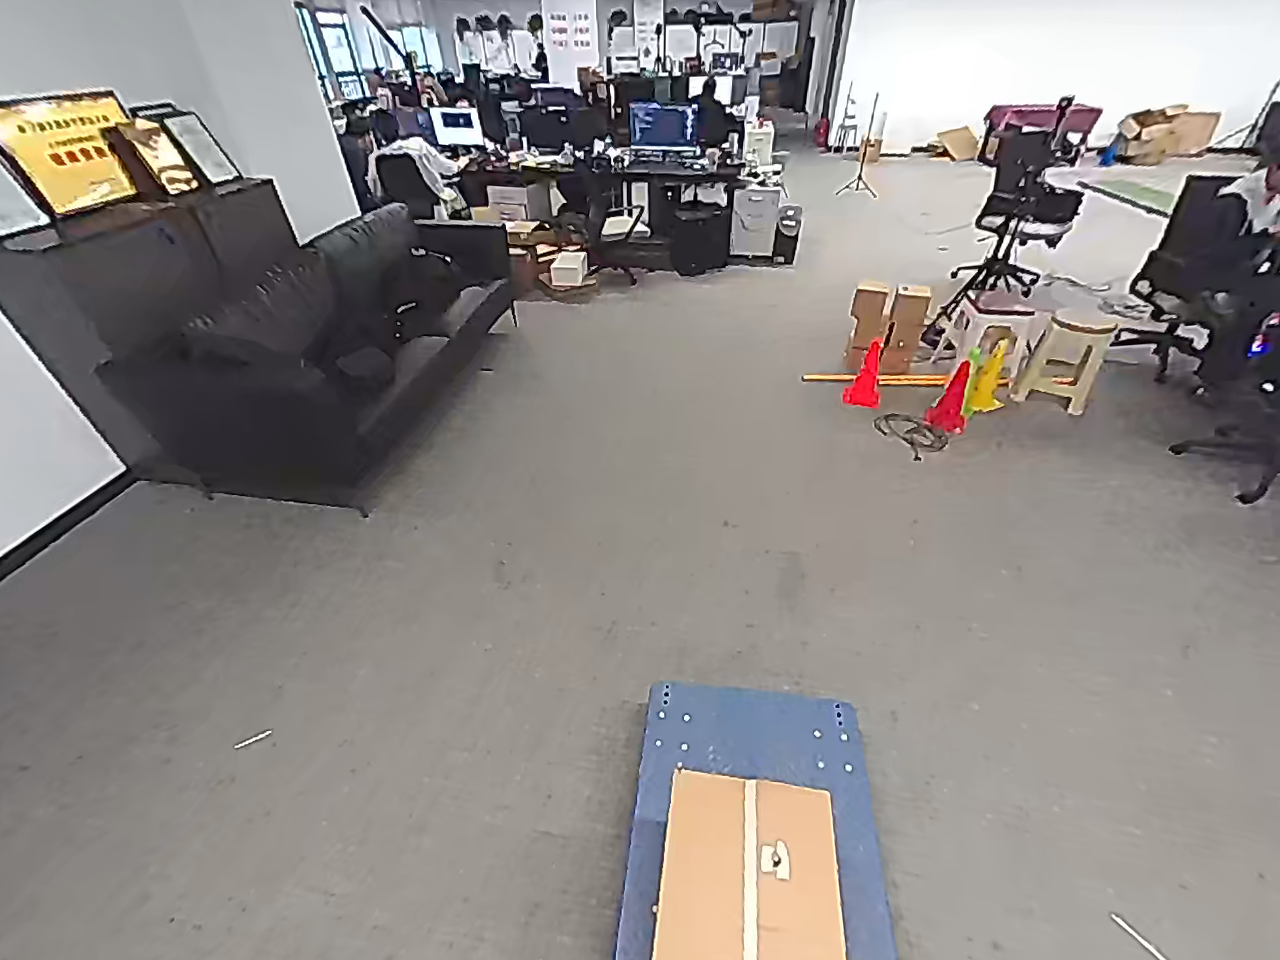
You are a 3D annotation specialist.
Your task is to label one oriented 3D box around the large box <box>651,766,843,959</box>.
[{"bbox_3d":[0.193,0.841,1.040,0.320,0.320,0.408,5,39,8],"label":"large box"}]
